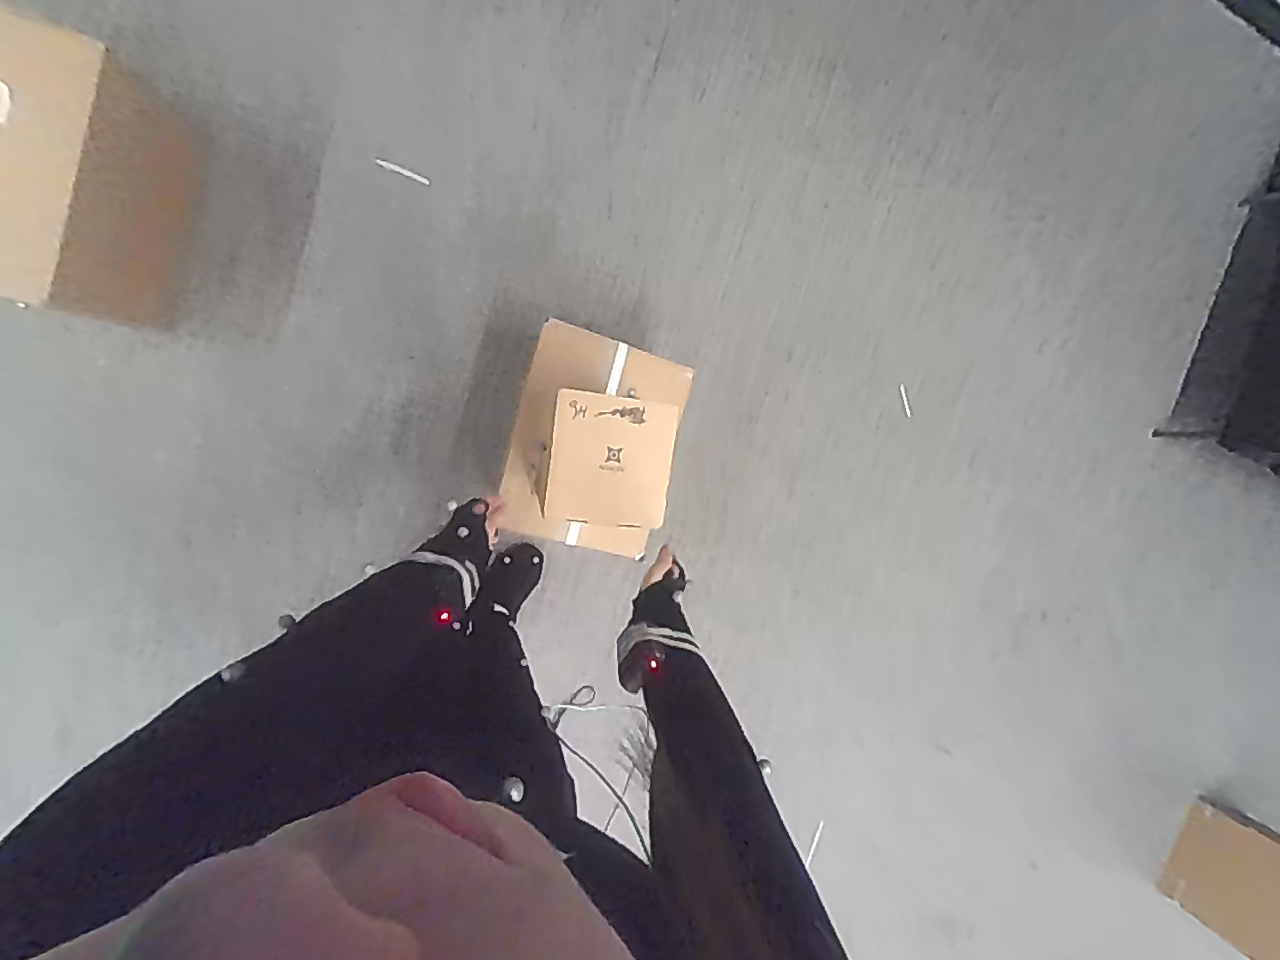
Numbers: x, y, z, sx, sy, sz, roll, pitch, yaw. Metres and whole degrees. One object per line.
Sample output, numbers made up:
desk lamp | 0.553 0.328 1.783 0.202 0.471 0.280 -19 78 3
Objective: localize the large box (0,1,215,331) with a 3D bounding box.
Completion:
large box | -1.012 -0.511 0.919 0.320 0.320 0.408 16 93 -15

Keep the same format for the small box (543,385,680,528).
small box | -0.052 -0.040 0.803 0.168 0.176 0.179 7 97 -13
